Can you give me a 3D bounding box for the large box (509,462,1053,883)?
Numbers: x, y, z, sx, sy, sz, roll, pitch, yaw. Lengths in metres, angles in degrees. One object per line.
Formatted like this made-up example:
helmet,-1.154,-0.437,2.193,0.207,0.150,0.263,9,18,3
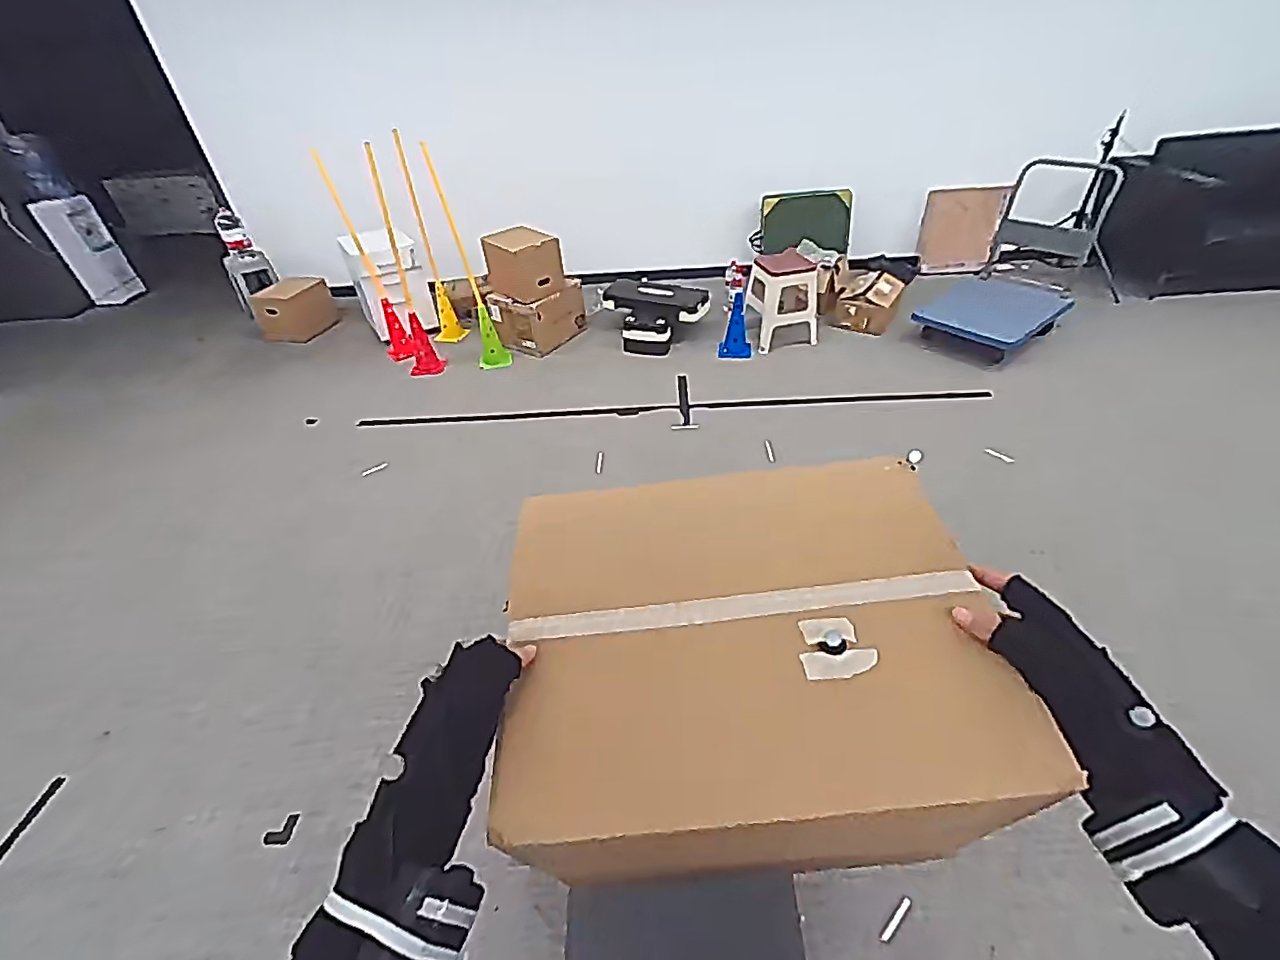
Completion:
large box,0.101,0.215,0.594,0.408,0.320,0.320,-6,48,1
